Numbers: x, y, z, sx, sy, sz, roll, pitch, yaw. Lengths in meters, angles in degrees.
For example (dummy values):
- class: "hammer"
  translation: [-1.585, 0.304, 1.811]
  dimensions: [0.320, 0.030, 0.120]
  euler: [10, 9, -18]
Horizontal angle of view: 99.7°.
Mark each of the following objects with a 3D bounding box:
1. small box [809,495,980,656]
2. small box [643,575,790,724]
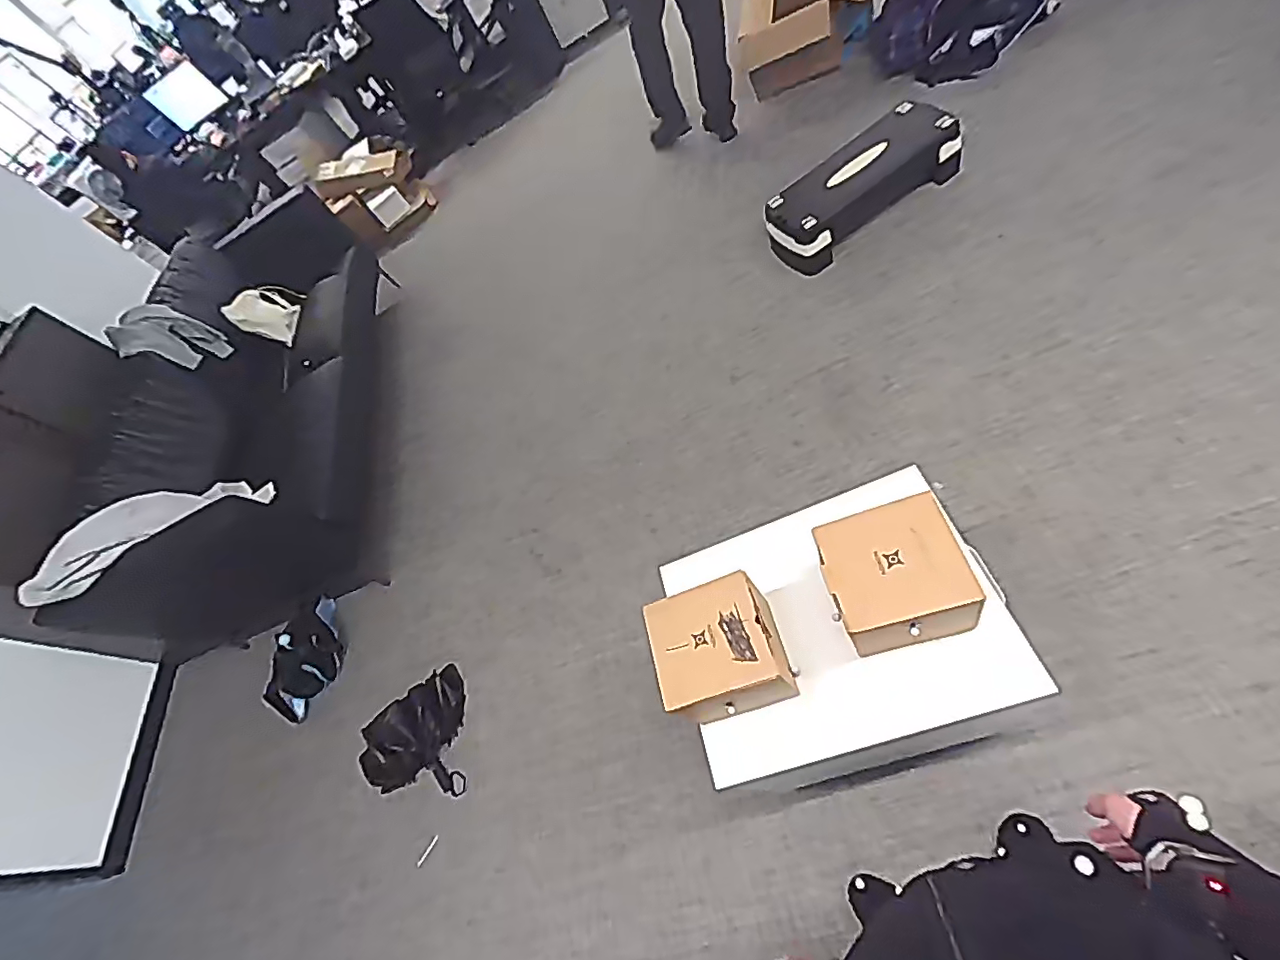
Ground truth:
- class: "small box"
  translation: [0.376, 0.152, 0.810]
  dimensions: [0.179, 0.176, 0.168]
  euler: [-20, 56, 16]
- class: "small box"
  translation: [0.128, 0.276, 0.864]
  dimensions: [0.179, 0.176, 0.168]
  euler: [-24, 53, 14]
